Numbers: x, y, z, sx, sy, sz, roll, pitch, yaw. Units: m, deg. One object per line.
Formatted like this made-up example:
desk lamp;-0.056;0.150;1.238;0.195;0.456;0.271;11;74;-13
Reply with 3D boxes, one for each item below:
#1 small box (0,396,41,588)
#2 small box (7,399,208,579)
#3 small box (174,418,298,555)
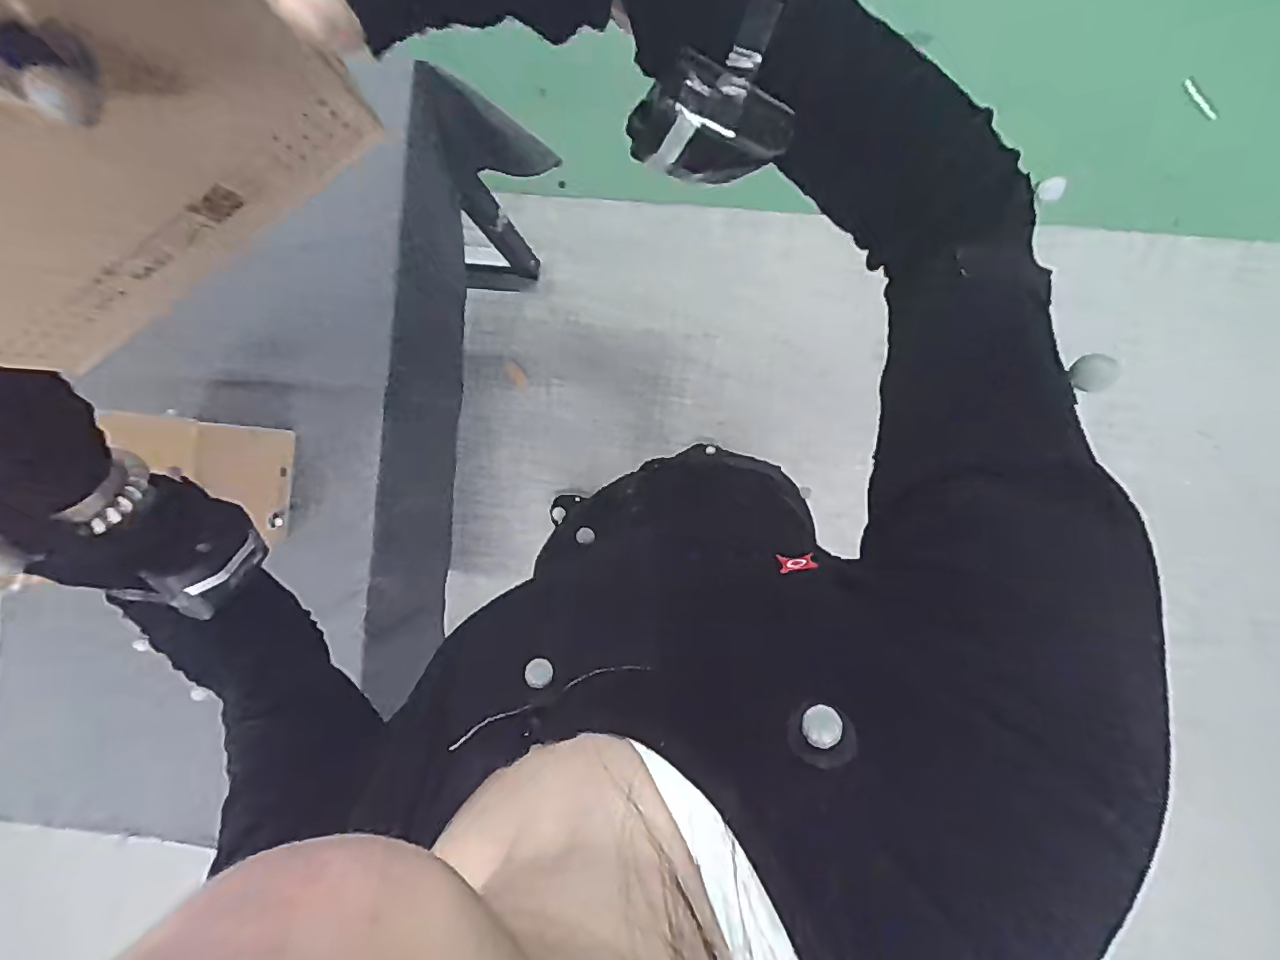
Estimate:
small box;-0.638;0.002;0.421;0.168;0.176;0.179;7;91;5
small box;-0.626;0.003;0.585;0.179;0.176;0.168;5;91;5
small box;-0.611;0.001;0.747;0.179;0.176;0.168;5;91;6
